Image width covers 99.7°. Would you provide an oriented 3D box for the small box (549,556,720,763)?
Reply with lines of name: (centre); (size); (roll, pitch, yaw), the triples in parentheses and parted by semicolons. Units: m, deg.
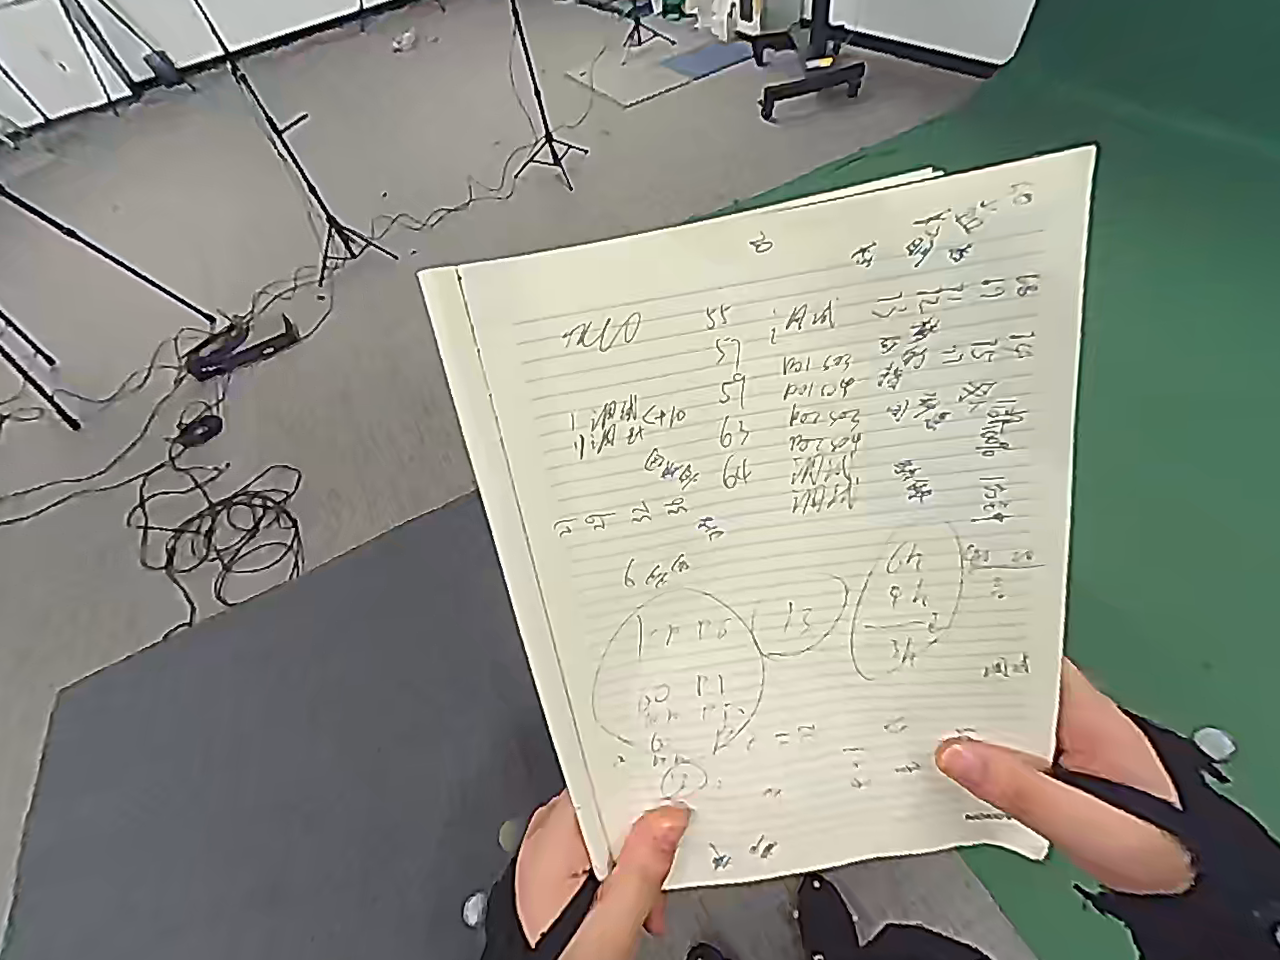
small box: (-0.004, 0.227, 0.675); (0.168, 0.176, 0.179); (-16, 52, 0)
